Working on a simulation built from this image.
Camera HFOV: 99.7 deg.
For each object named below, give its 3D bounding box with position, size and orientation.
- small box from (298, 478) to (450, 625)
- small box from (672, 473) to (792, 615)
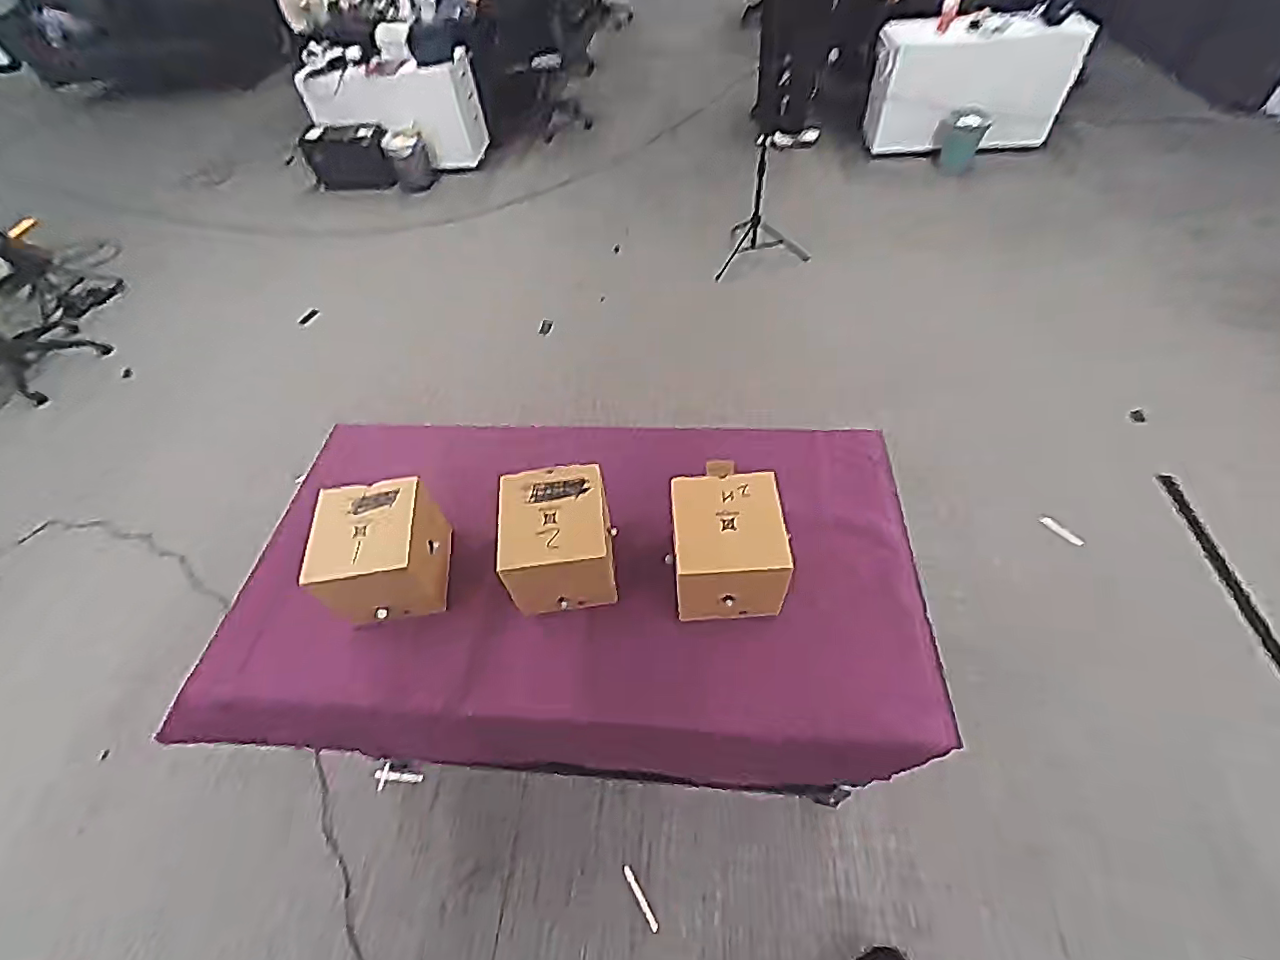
[{"bbox_3d":[-0.433,0.123,0.916,0.168,0.176,0.179,-9,53,-2],"label":"small box"},{"bbox_3d":[0.139,0.110,0.874,0.168,0.176,0.179,-3,52,2],"label":"small box"}]
